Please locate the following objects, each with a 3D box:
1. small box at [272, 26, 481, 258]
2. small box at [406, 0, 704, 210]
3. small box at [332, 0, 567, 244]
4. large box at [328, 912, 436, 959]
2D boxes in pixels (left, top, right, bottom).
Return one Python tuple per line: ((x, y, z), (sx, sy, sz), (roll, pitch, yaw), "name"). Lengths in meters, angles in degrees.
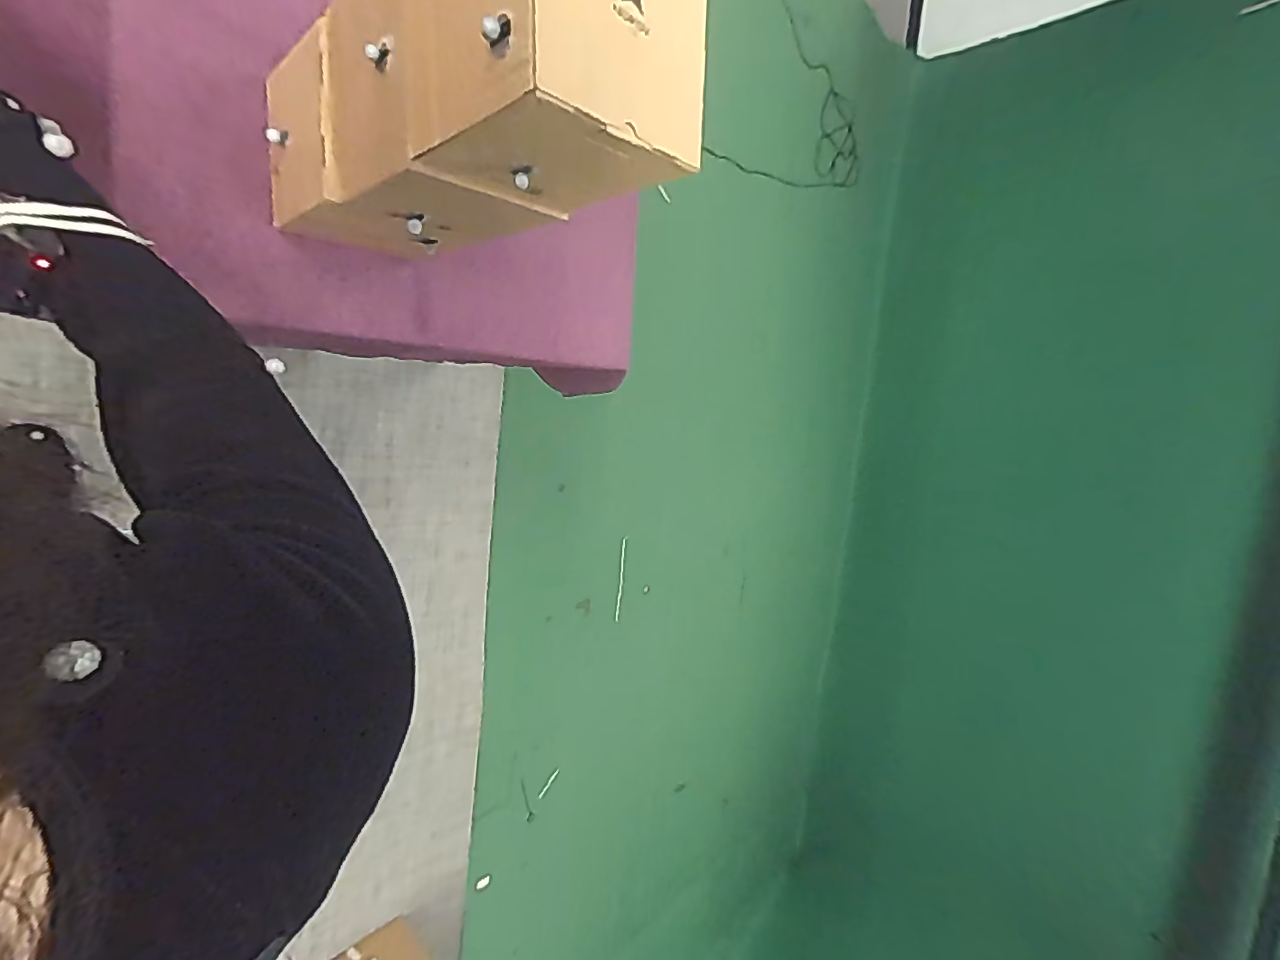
((-0.306, -0.371, 0.638), (0.179, 0.176, 0.168), (-6, 102, -48), "small box")
((-0.067, -0.334, 0.420), (0.168, 0.176, 0.179), (-10, 106, -46), "small box")
((-0.186, -0.351, 0.530), (0.168, 0.176, 0.179), (-7, 104, -47), "small box")
((-0.766, 1.601, 1.551), (0.320, 0.320, 0.408), (-3, 102, -49), "large box")
